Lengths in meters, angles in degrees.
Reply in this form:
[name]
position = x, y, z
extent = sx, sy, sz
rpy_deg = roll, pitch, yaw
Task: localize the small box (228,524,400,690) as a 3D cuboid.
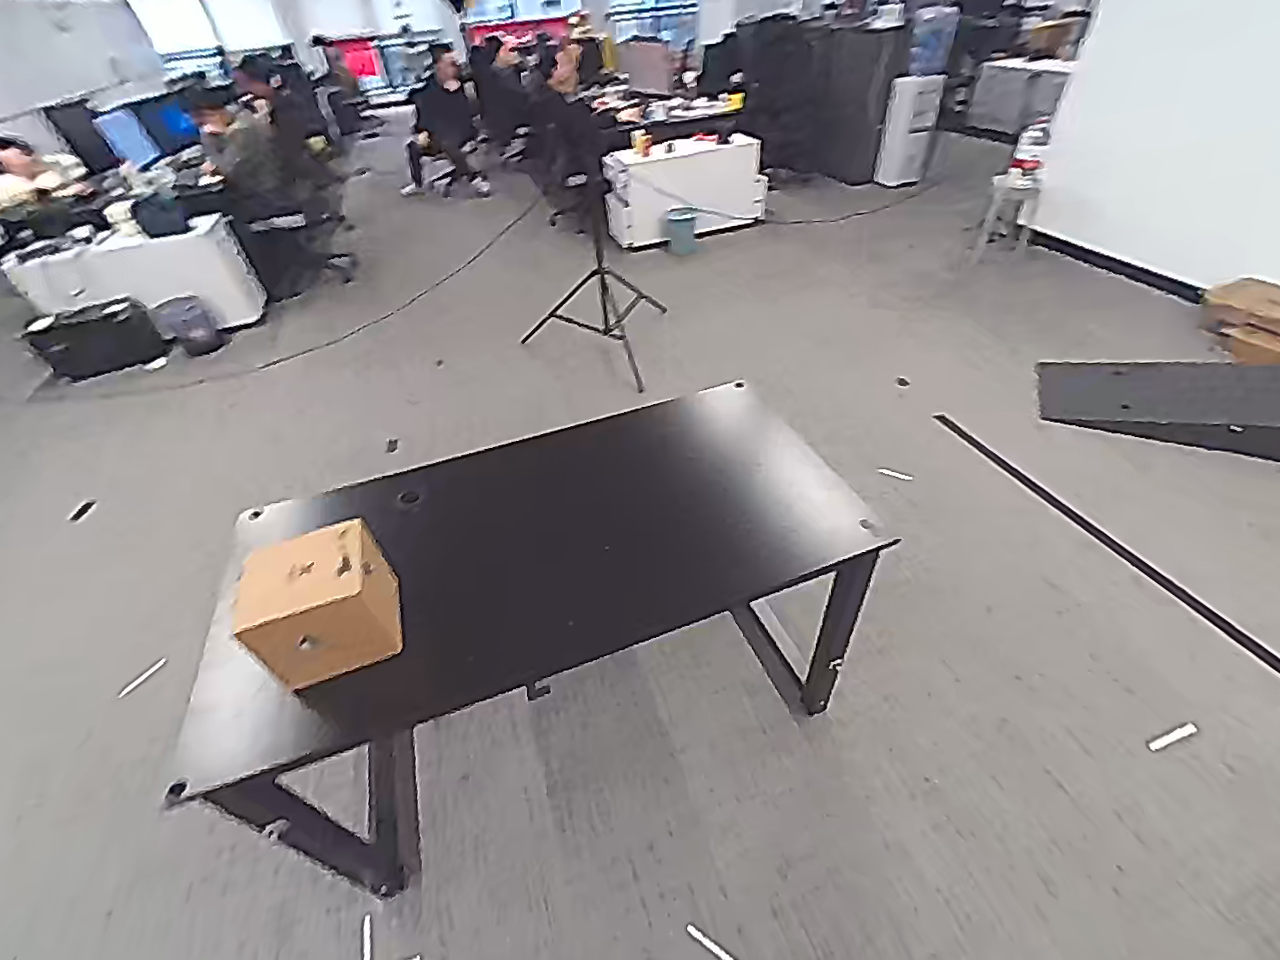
[small box]
position = -0.511, 0.206, 0.873
extent = 0.179, 0.176, 0.168
rpy_deg = -19, 44, -13
